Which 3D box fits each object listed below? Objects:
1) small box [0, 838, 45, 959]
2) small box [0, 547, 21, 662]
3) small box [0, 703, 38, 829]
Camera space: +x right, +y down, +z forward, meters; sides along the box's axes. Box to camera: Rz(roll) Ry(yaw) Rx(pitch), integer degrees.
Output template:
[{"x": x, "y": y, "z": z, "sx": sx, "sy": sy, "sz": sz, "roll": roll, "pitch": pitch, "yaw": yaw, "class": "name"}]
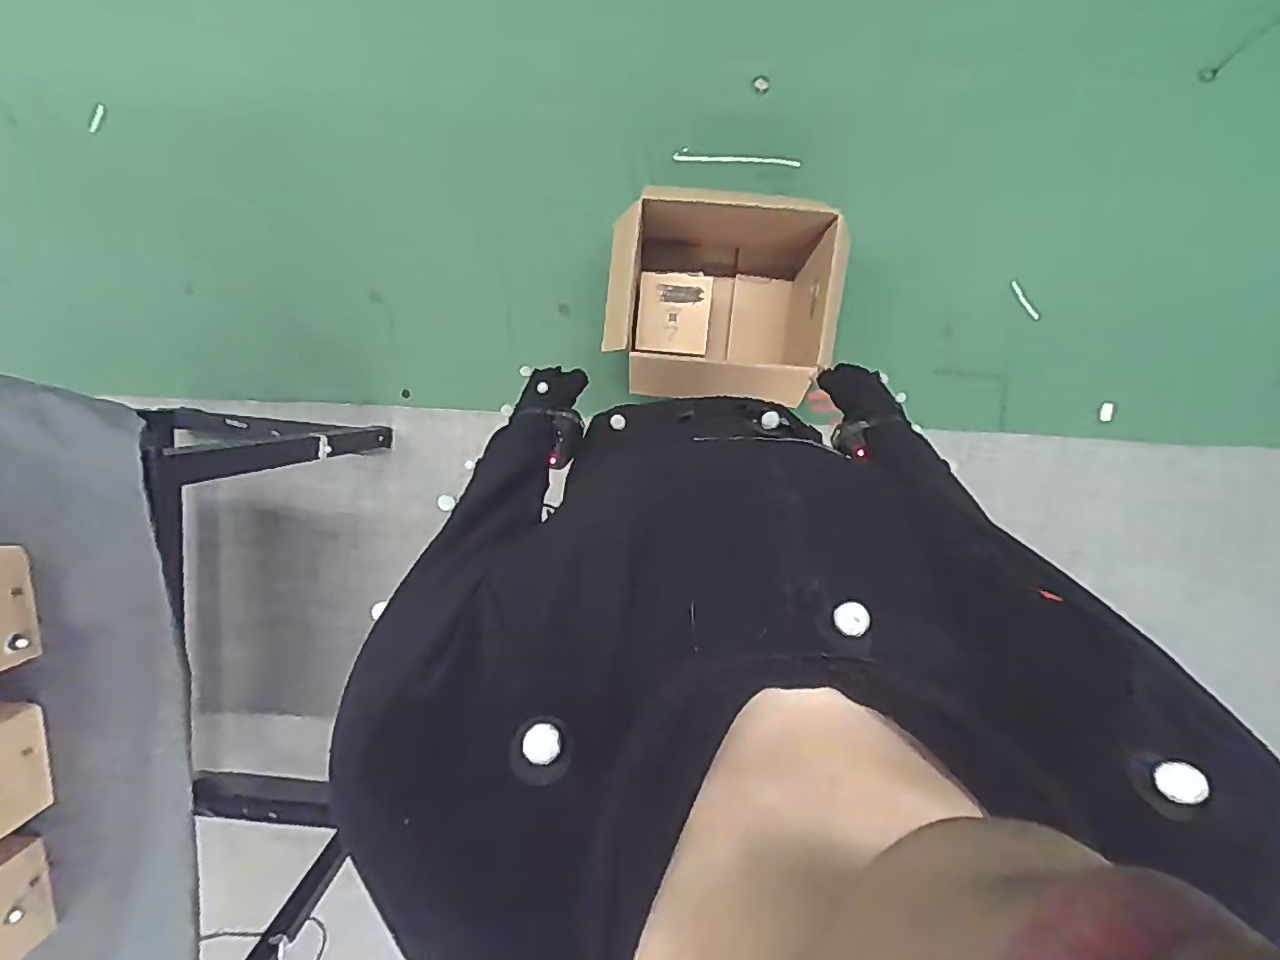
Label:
[{"x": -1.015, "y": 0.634, "z": 0.758, "sx": 0.179, "sy": 0.176, "sz": 0.168, "roll": 2, "pitch": 99, "yaw": 1, "class": "small box"}, {"x": -0.958, "y": 0.179, "z": 0.687, "sx": 0.179, "sy": 0.176, "sz": 0.168, "roll": 2, "pitch": 99, "yaw": 1, "class": "small box"}, {"x": -0.977, "y": 0.415, "z": 0.726, "sx": 0.179, "sy": 0.176, "sz": 0.168, "roll": 2, "pitch": 99, "yaw": 1, "class": "small box"}]
